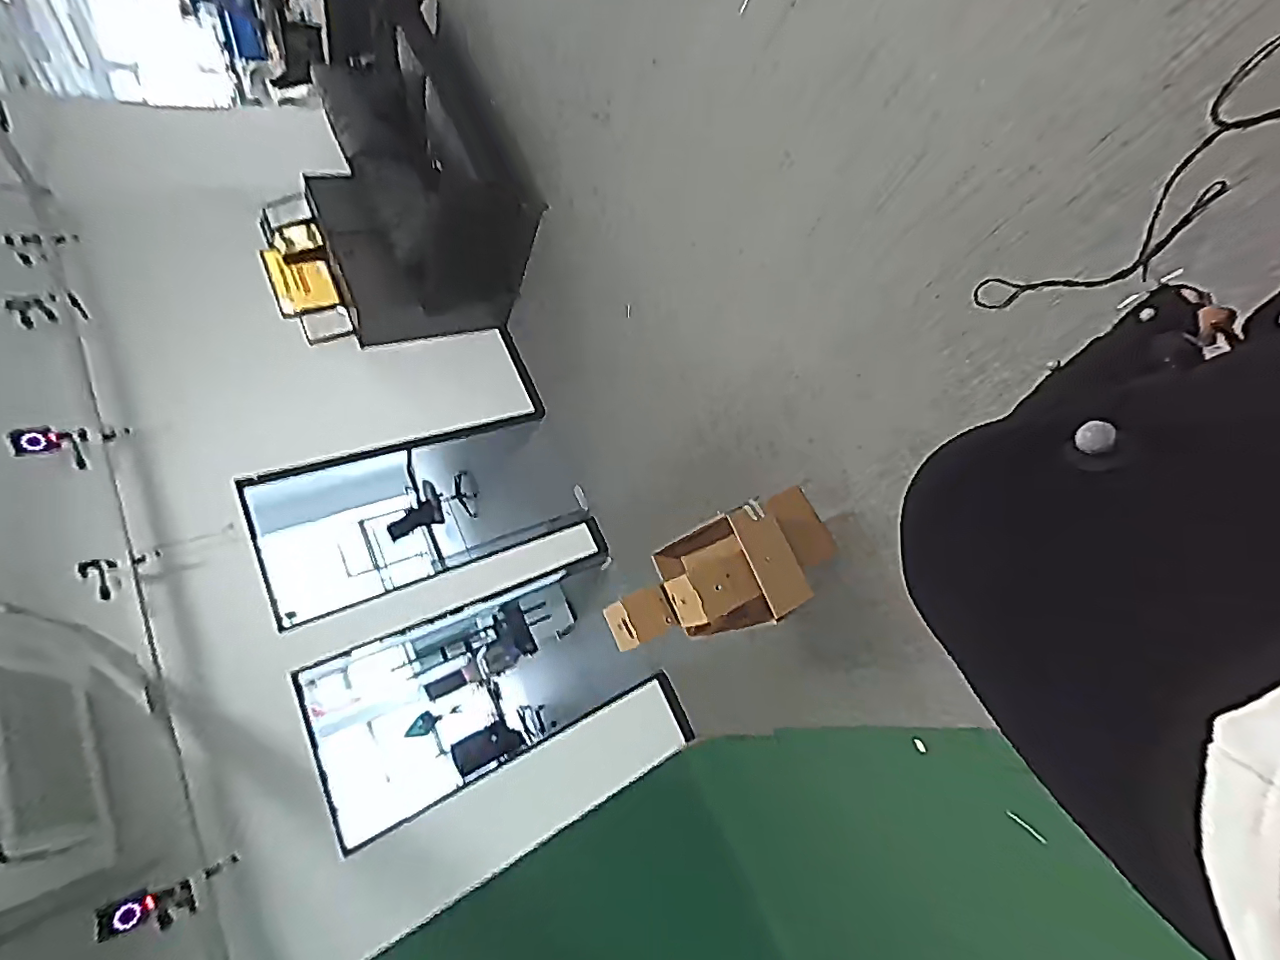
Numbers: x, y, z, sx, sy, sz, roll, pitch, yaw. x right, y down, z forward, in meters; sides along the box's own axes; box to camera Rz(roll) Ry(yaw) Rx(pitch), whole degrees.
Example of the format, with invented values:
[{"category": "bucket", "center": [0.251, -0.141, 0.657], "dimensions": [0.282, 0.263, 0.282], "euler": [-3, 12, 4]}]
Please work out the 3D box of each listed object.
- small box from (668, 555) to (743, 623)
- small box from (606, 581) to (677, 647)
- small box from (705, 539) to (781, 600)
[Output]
[{"category": "small box", "center": [0.228, 0.369, 1.835], "dimensions": [0.179, 0.176, 0.168], "euler": [-39, 72, 59]}, {"category": "small box", "center": [0.010, 0.479, 1.941], "dimensions": [0.168, 0.176, 0.179], "euler": [65, 147, 13]}, {"category": "small box", "center": [0.363, 0.324, 1.915], "dimensions": [0.168, 0.176, 0.179], "euler": [66, 151, 9]}]
